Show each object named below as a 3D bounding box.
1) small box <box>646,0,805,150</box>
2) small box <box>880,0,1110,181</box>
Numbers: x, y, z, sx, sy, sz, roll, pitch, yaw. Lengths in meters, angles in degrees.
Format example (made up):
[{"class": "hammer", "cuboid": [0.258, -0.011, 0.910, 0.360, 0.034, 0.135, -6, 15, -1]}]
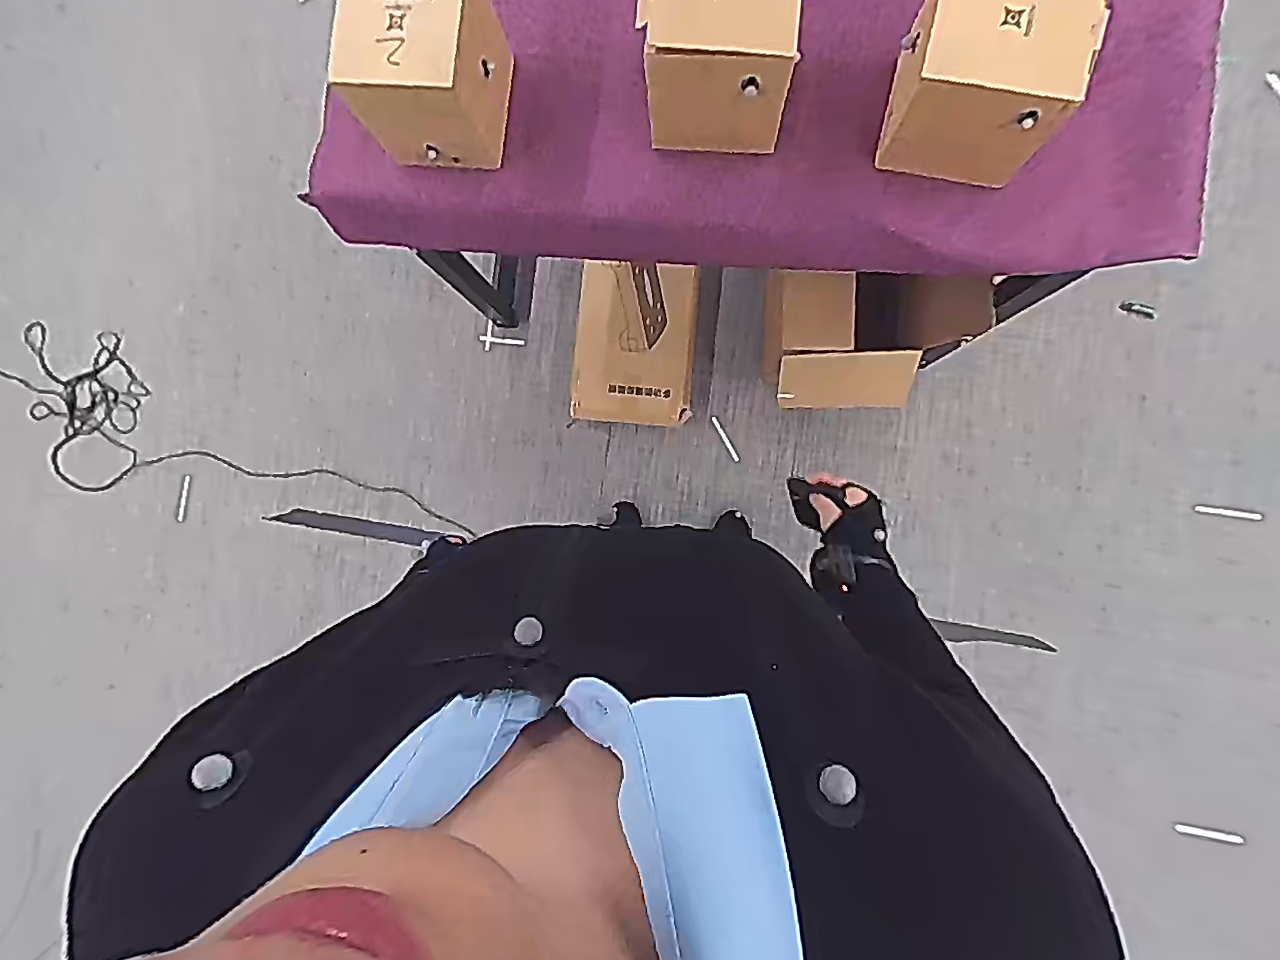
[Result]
[{"class": "small box", "cuboid": [0.108, -0.557, 0.695, 0.179, 0.176, 0.168, 6, 86, 6]}, {"class": "small box", "cuboid": [0.420, -0.501, 0.666, 0.179, 0.176, 0.168, 13, 89, 5]}]
